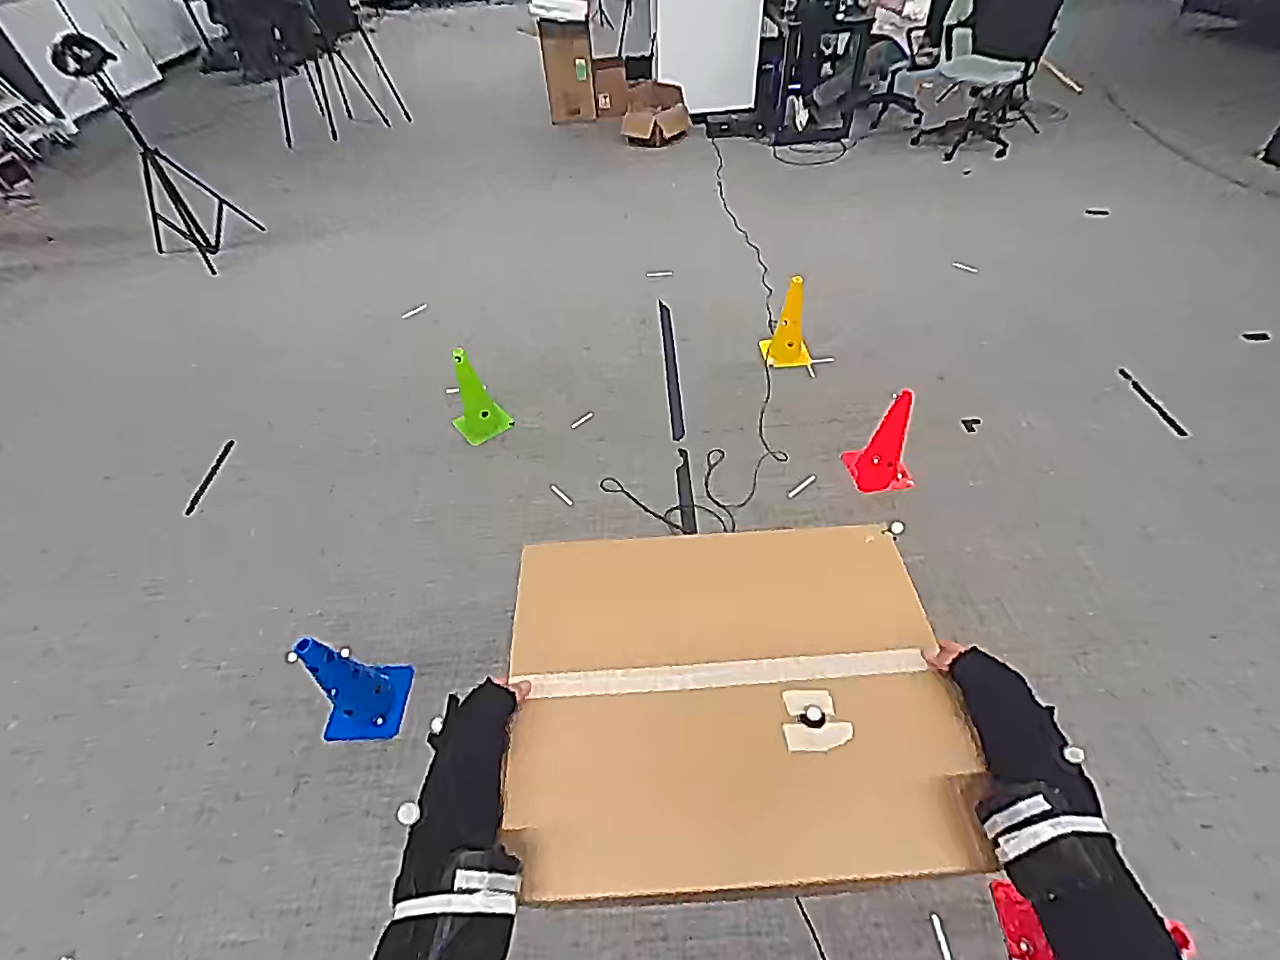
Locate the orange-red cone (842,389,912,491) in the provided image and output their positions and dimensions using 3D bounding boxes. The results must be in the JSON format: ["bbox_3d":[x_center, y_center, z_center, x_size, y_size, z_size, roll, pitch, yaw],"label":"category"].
[{"bbox_3d":[0.839,-0.155,1.820,0.198,0.360,0.199,-5,47,-2],"label":"orange-red cone"}]

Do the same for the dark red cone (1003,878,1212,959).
[{"bbox_3d":[0.829,0.799,0.937,0.201,0.394,0.202,-1,48,5],"label":"dark red cone"}]

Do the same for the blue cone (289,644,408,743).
[{"bbox_3d":[-0.759,0.512,1.368,0.192,0.380,0.193,-3,48,4],"label":"blue cone"}]

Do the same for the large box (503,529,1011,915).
[{"bbox_3d":[0.084,0.281,0.620,0.408,0.320,0.320,-3,51,-1],"label":"large box"}]

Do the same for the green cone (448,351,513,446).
[{"bbox_3d":[-0.661,-0.344,2.102,0.202,0.368,0.200,-35,54,-22],"label":"green cone"}]
